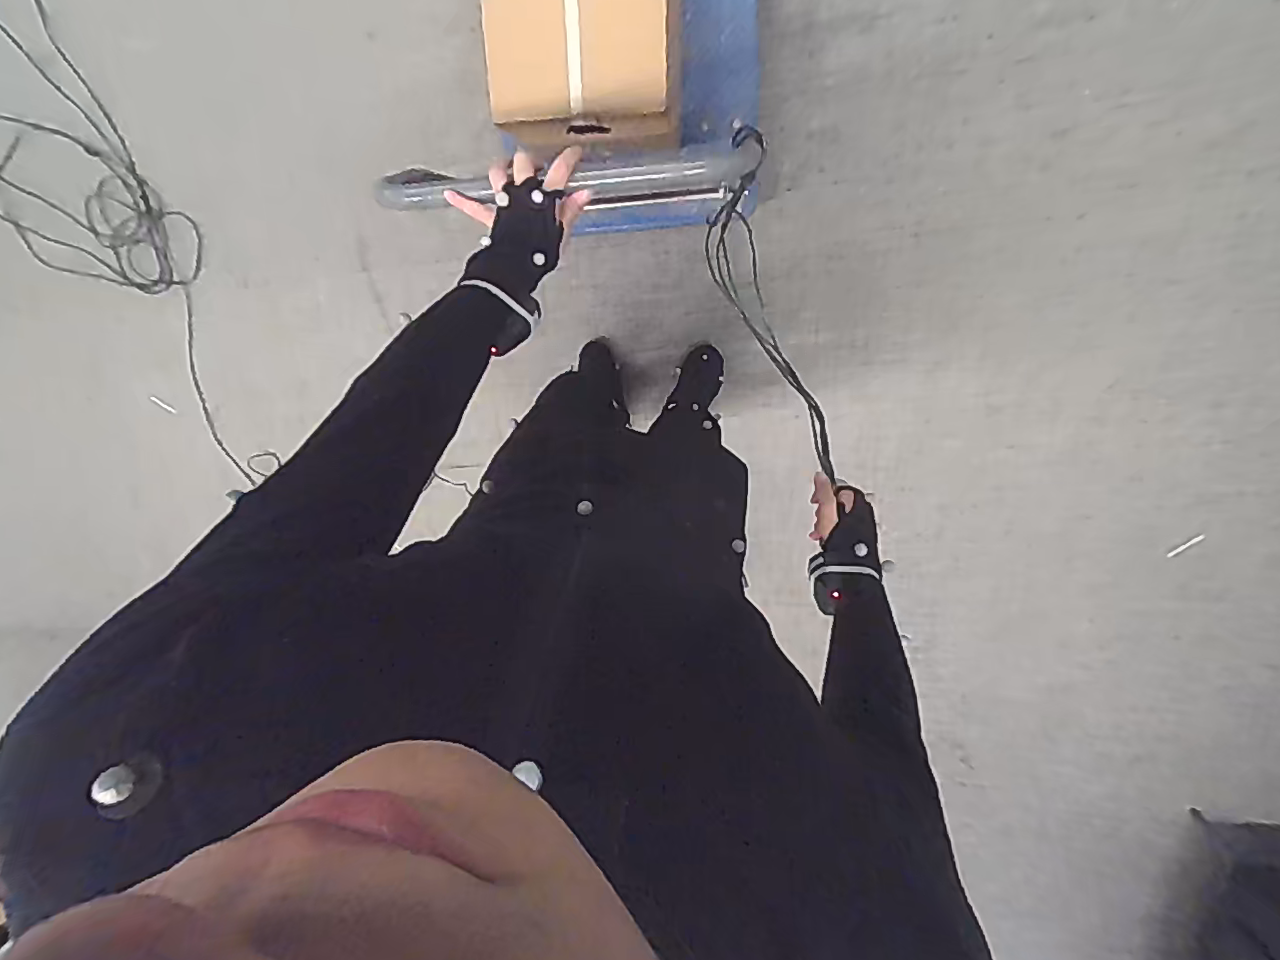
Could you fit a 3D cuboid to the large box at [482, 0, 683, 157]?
[{"bbox_3d":[-0.087,-0.859,0.994,0.320,0.320,0.408,2,110,8],"label":"large box"}]
